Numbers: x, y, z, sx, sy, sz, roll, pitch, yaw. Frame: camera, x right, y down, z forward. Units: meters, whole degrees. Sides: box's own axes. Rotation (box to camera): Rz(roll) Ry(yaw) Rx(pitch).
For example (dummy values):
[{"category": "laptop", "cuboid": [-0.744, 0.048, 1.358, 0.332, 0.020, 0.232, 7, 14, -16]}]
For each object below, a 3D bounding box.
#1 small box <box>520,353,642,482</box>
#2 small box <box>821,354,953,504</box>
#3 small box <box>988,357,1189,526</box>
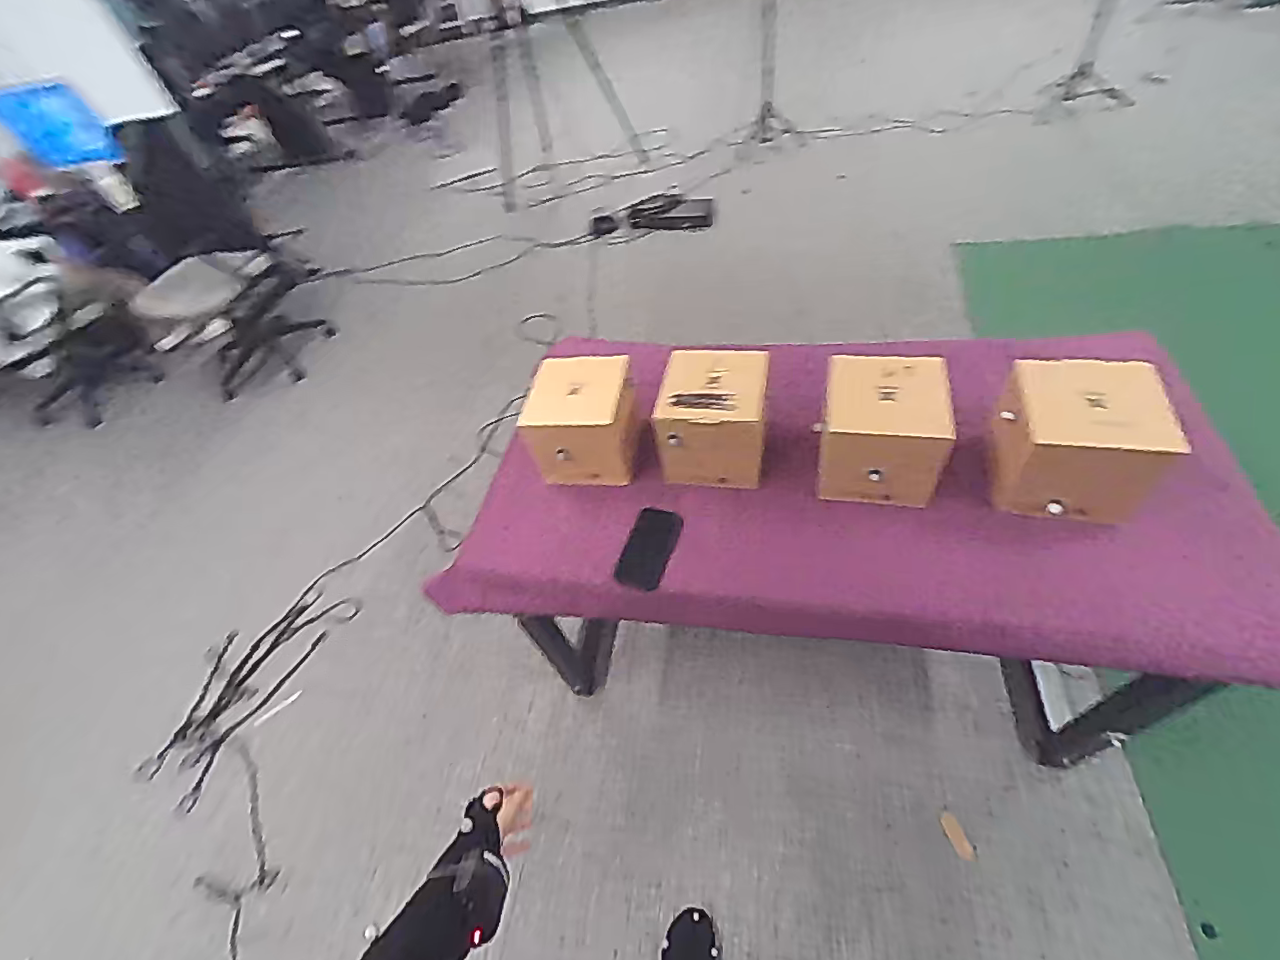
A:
[{"category": "small box", "cuboid": [-0.096, -0.111, 0.999, 0.168, 0.176, 0.179, 1, 50, 13]}, {"category": "small box", "cuboid": [0.386, -0.081, 0.869, 0.168, 0.176, 0.179, 6, 52, 16]}, {"category": "small box", "cuboid": [0.636, -0.057, 0.797, 0.168, 0.176, 0.179, 6, 53, 18]}]
